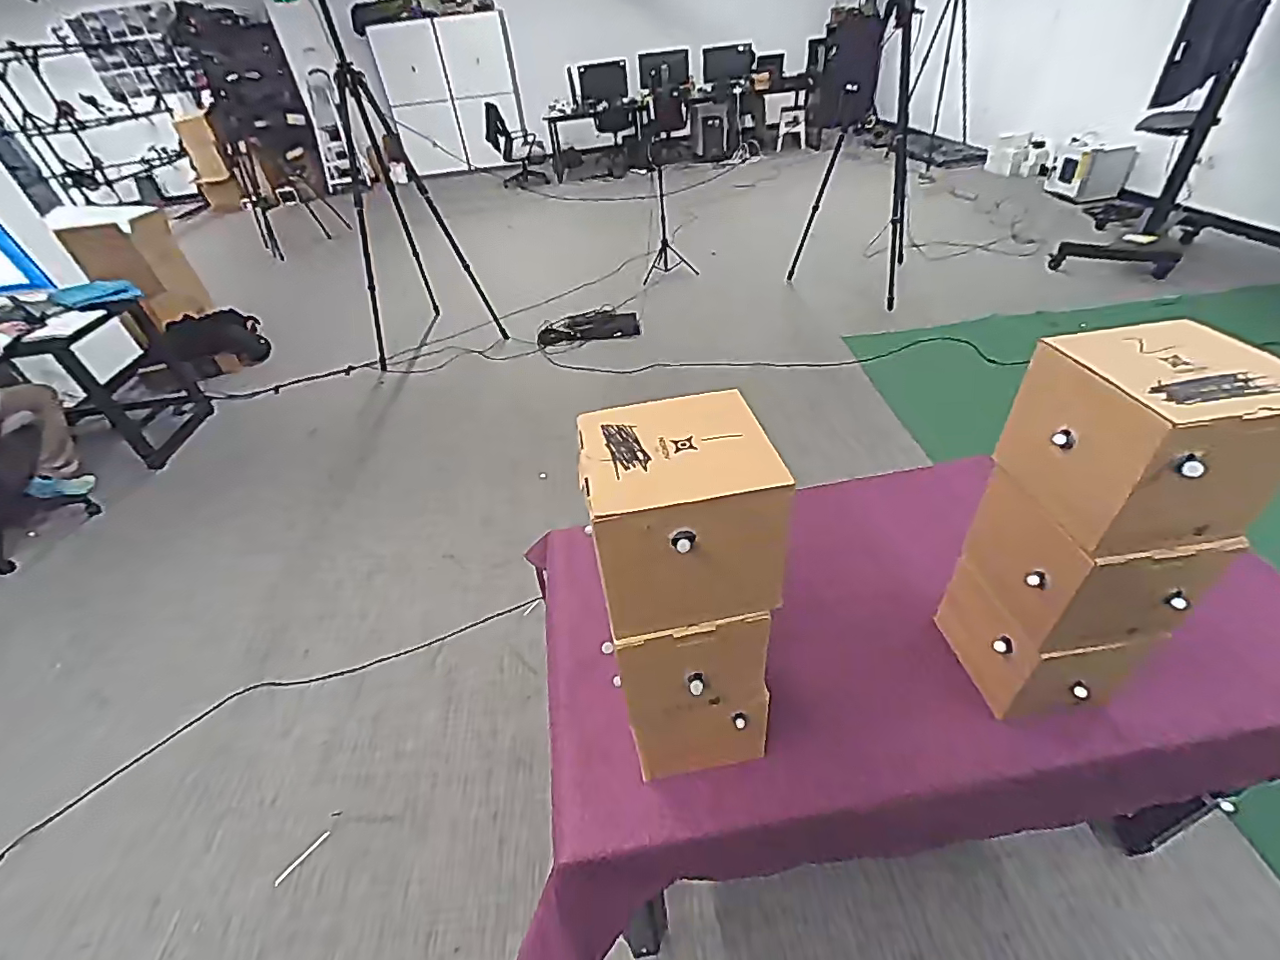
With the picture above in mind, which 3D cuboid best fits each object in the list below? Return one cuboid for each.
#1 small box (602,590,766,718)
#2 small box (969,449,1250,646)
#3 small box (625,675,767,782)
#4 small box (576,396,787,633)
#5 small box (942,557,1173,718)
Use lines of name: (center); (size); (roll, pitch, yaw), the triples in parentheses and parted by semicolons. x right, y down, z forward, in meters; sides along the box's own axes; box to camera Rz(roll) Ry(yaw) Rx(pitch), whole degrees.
small box: (0.046, 0.167, 0.660); (0.168, 0.176, 0.179); (-10, 39, -4)
small box: (0.547, 0.087, 0.666); (0.168, 0.176, 0.179); (-7, 38, 1)
small box: (0.069, 0.296, 0.760); (0.179, 0.176, 0.168); (-10, 39, -3)
small box: (0.038, 0.036, 0.560); (0.179, 0.176, 0.168); (-10, 38, -4)
small box: (0.566, 0.215, 0.766); (0.168, 0.176, 0.179); (-9, 39, -1)
